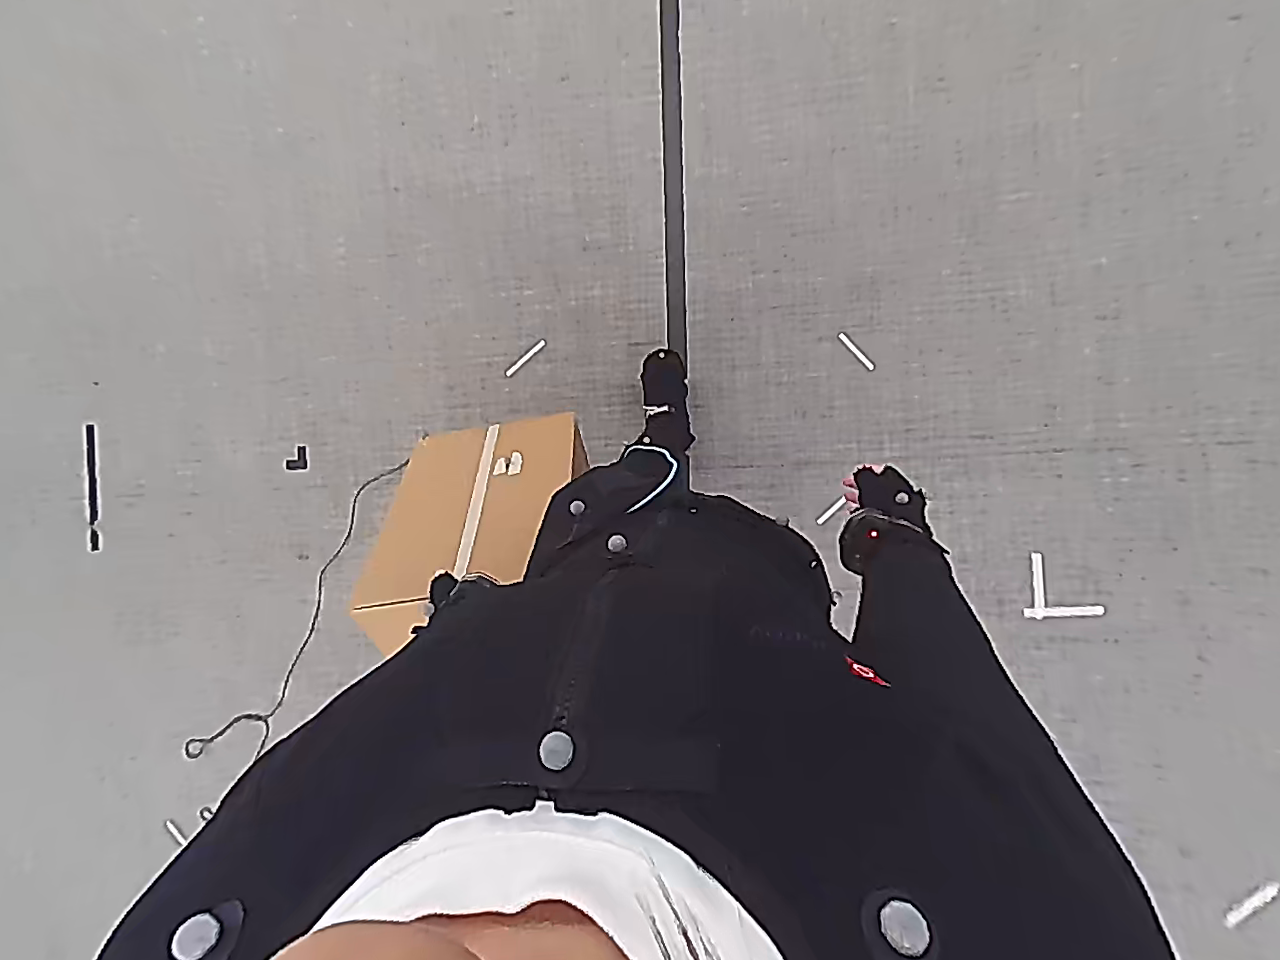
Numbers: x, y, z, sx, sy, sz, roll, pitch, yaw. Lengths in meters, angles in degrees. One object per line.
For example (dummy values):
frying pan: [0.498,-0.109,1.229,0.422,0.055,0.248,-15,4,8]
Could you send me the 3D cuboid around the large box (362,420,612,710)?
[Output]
large box: [-0.235,0.145,0.997,0.320,0.408,0.320,-8,129,3]
